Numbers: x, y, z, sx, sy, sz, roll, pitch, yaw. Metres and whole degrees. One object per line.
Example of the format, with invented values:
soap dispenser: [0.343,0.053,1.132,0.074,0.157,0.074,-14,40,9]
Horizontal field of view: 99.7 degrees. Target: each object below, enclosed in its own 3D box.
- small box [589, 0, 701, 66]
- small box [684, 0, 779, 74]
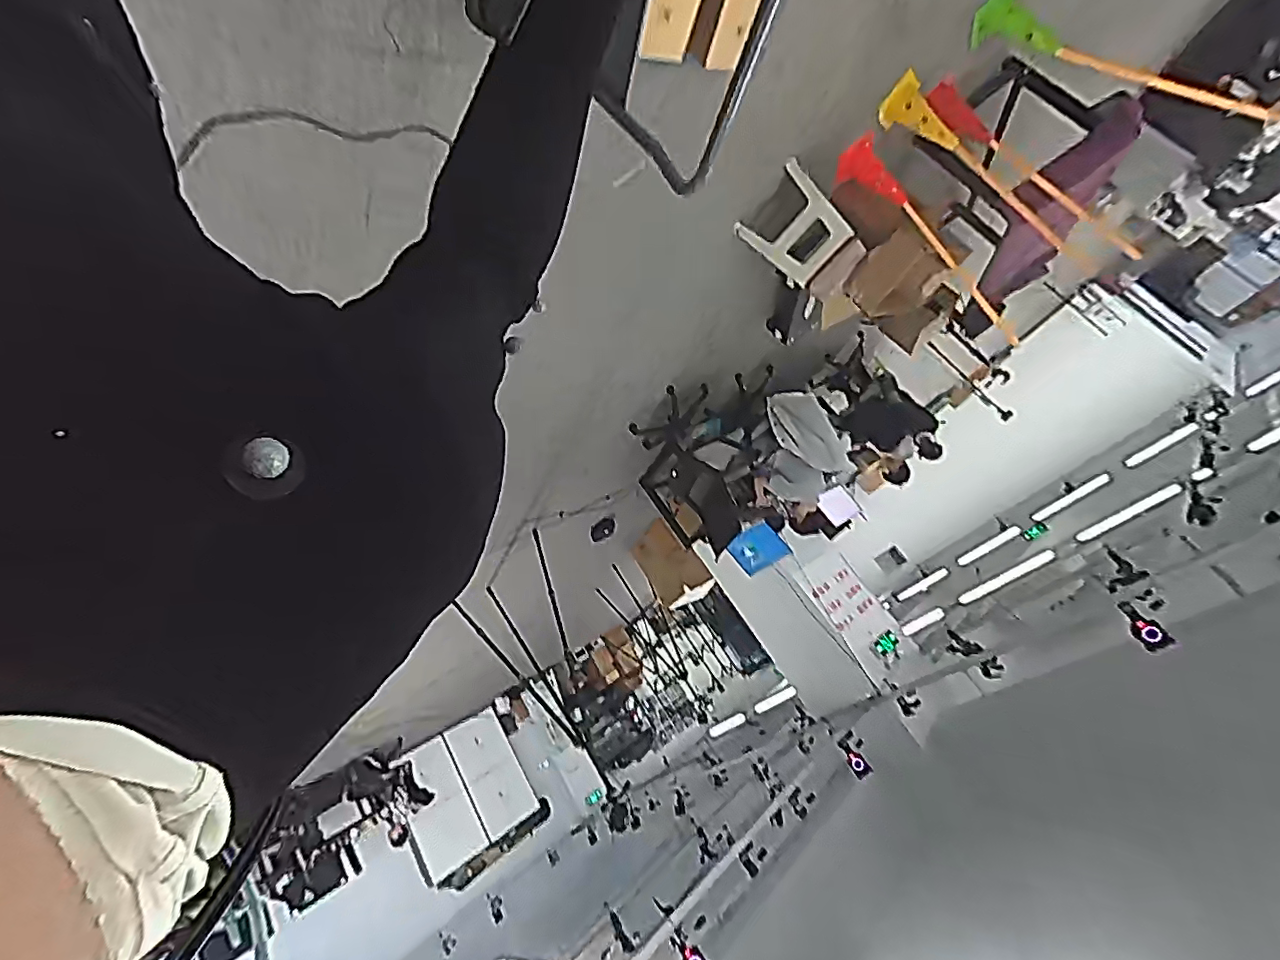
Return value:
small box: [0.012,-1.089,1.234,0.179,0.176,0.168,-21,155,-33]
small box: [0.207,-1.166,1.369,0.179,0.176,0.168,-22,156,-30]
